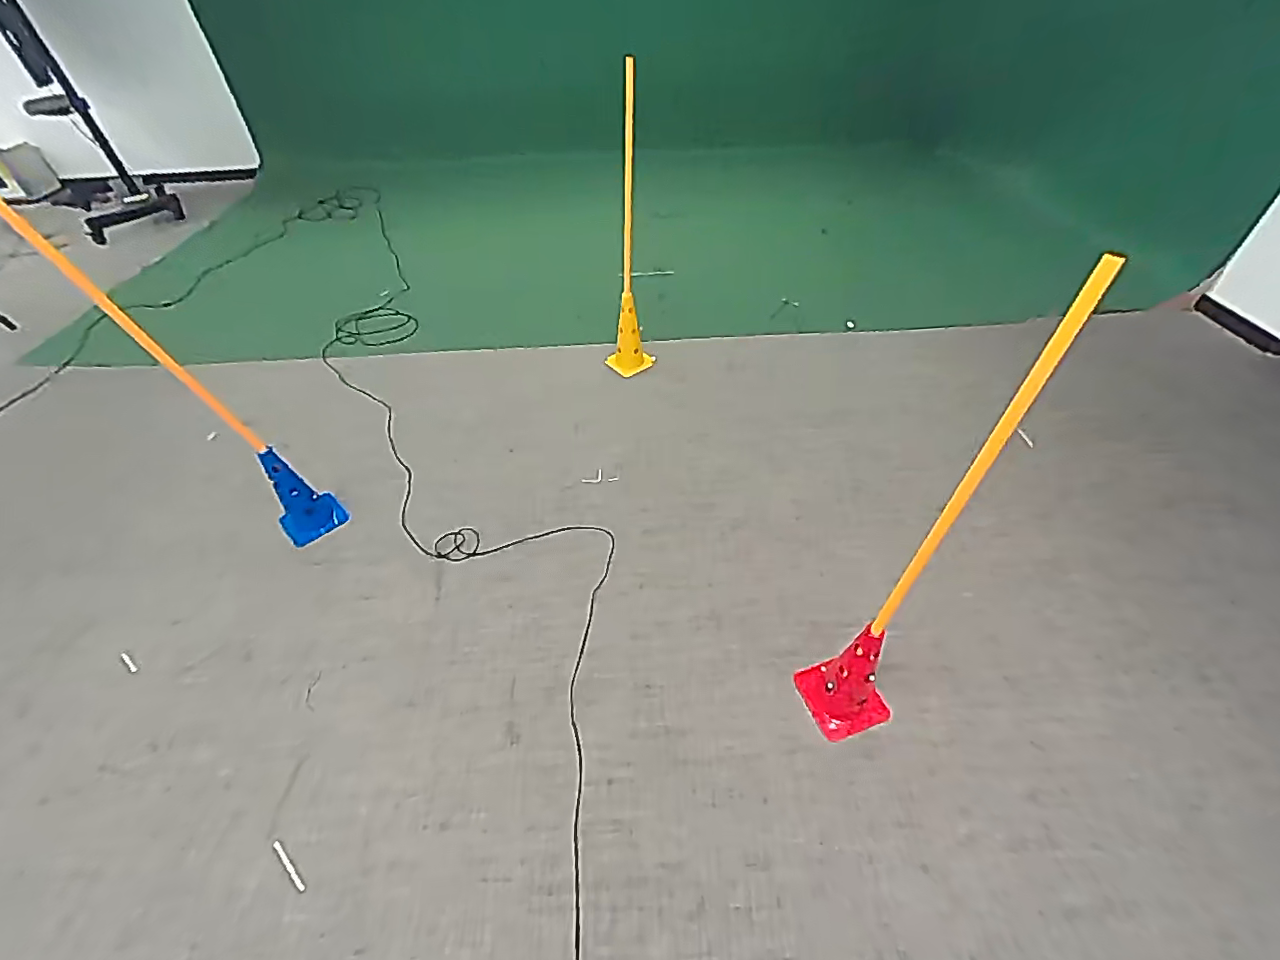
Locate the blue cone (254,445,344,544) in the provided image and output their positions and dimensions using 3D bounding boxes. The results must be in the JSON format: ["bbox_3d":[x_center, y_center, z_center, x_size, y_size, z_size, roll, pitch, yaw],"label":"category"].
[{"bbox_3d":[-1.212,0.030,1.867,0.192,0.380,0.193,34,57,29],"label":"blue cone"}]
